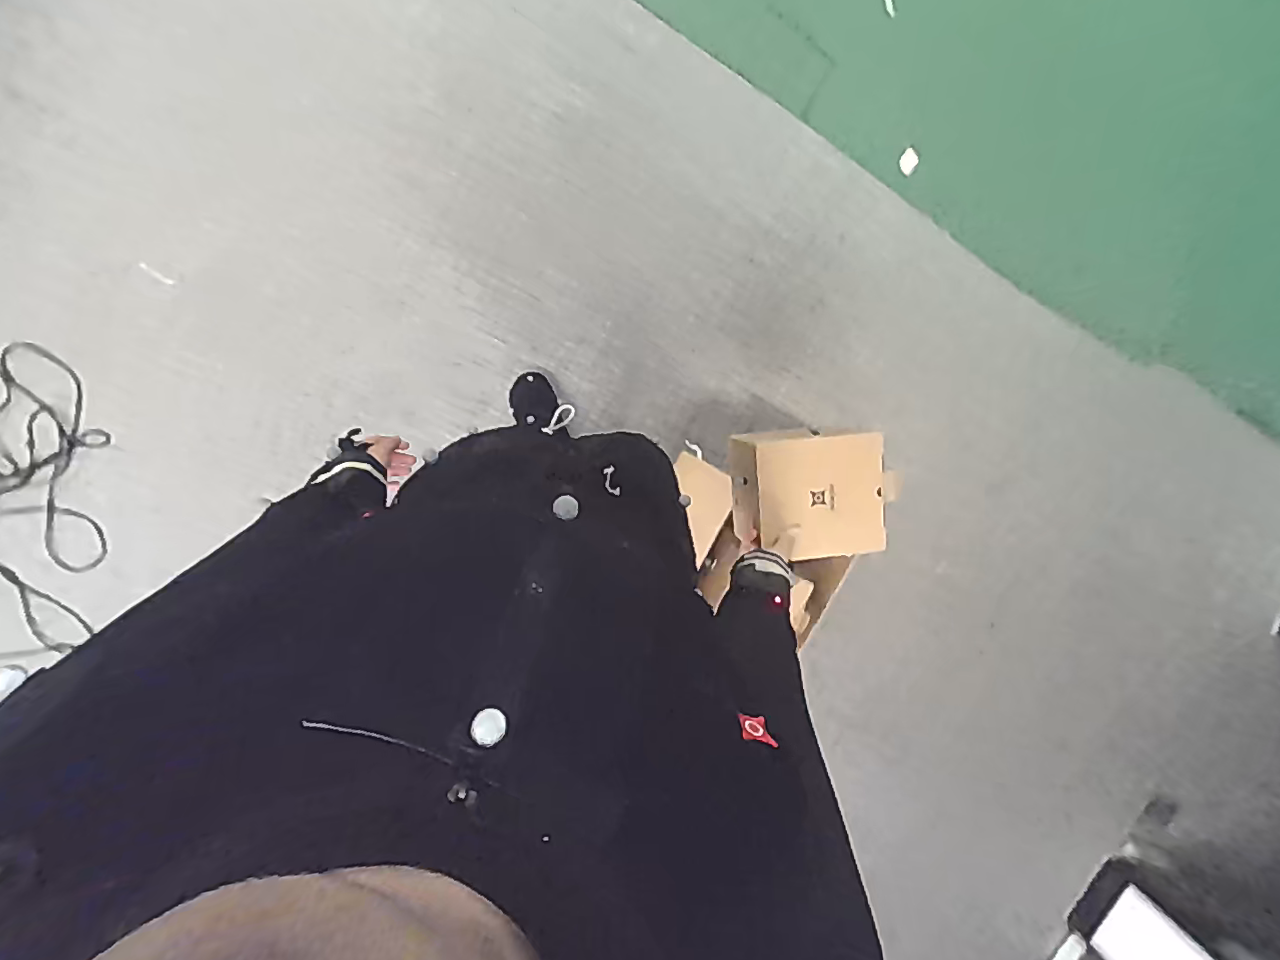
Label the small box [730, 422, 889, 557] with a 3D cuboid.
[{"bbox_3d":[0.234,0.006,0.789,0.179,0.176,0.168,-7,97,-4],"label":"small box"}]
